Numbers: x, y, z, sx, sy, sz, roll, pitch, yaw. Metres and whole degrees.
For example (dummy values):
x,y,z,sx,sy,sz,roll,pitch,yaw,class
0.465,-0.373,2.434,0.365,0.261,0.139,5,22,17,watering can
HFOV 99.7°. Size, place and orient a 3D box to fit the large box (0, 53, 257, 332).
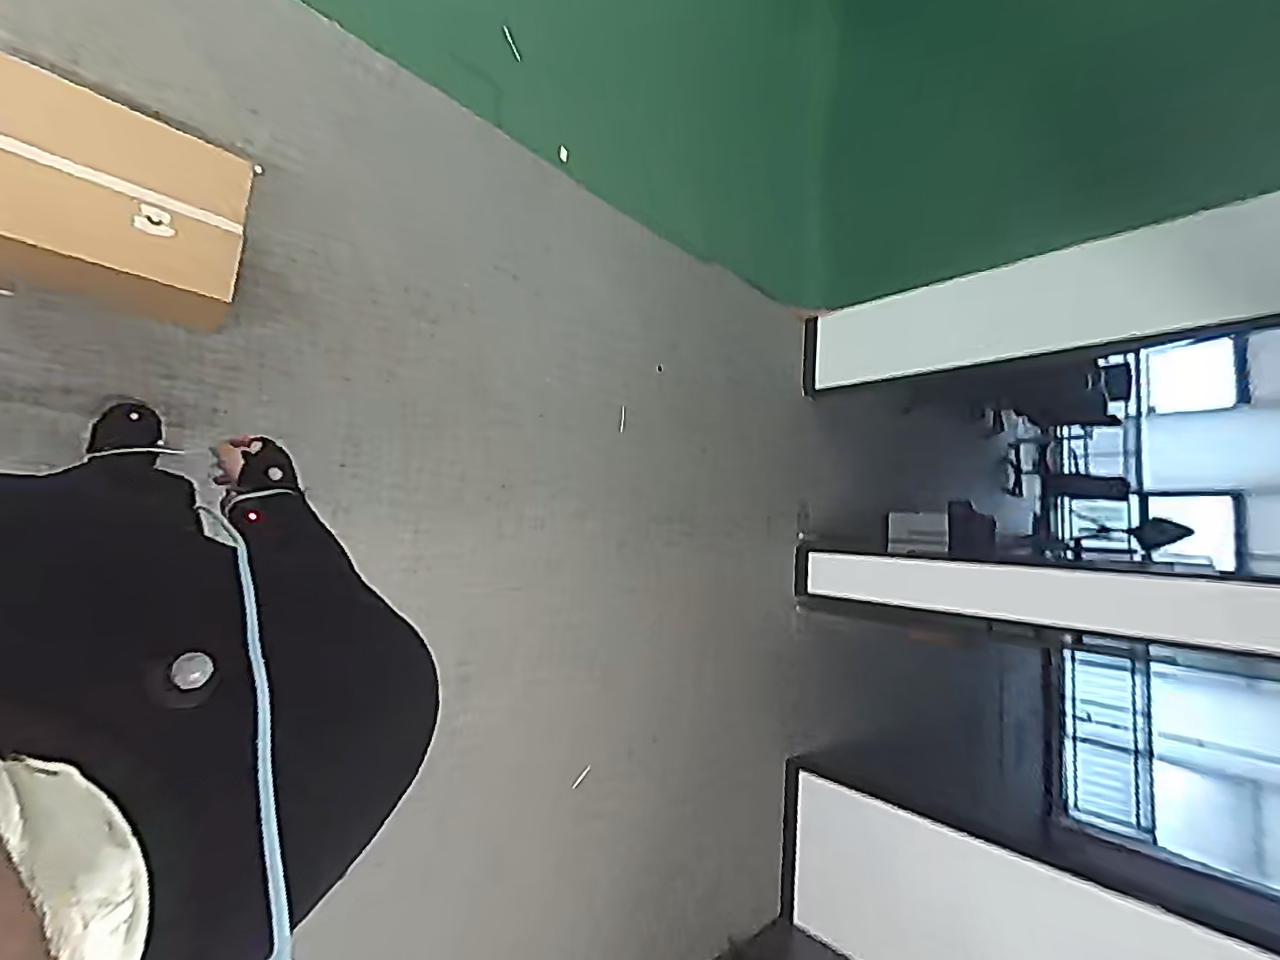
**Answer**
x,y,z,sx,sy,sz,roll,pitch,yaw,class
-1.077,-0.542,1.112,0.408,0.320,0.320,11,81,-43,large box
